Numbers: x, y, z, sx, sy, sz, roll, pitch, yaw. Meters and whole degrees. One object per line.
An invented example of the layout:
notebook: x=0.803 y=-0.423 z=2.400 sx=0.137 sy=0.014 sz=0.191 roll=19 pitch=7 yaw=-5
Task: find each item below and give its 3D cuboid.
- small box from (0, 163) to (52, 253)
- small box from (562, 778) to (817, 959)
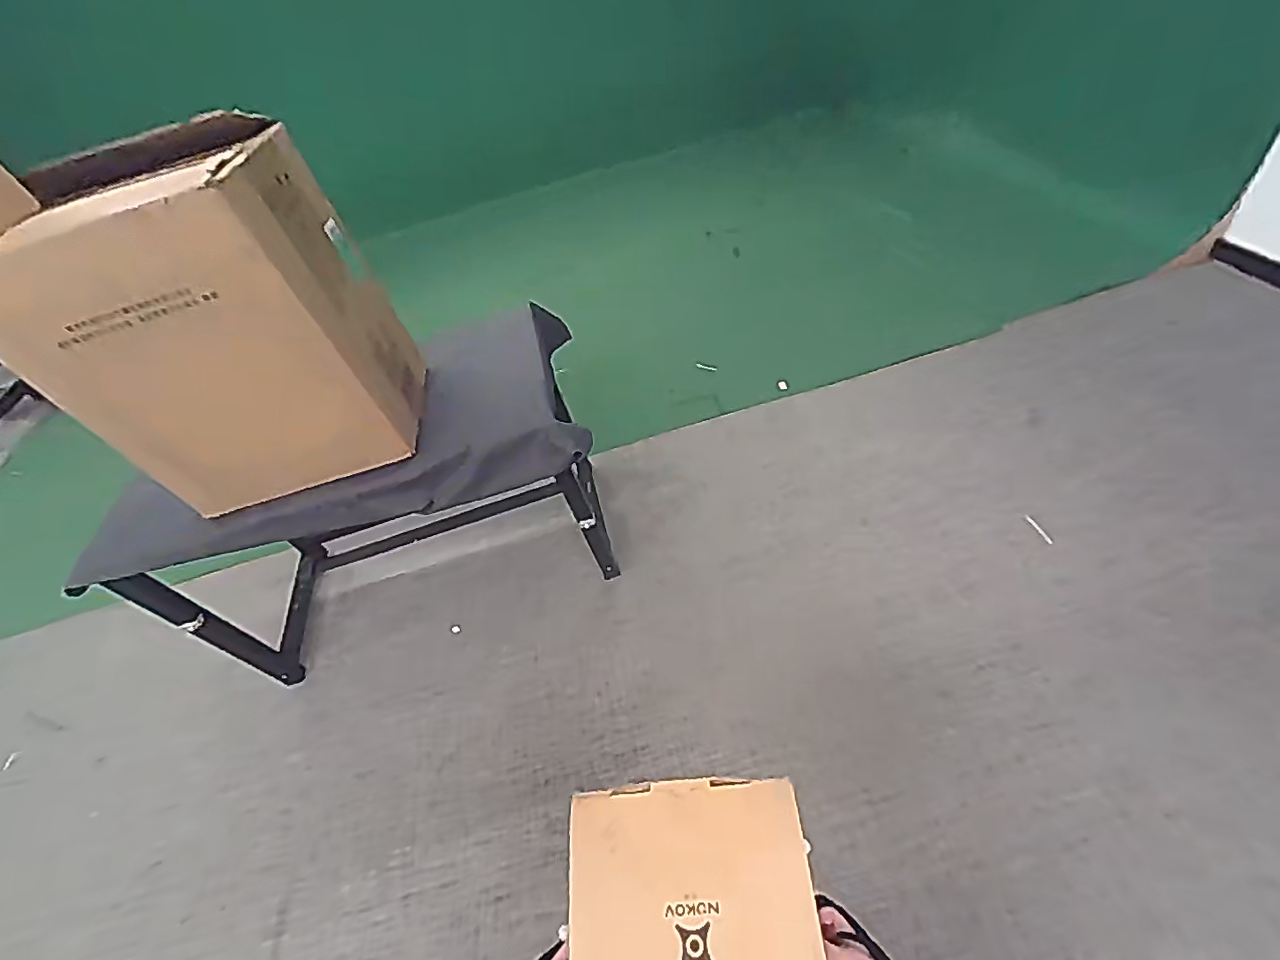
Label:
small box: x=-1.127 y=-0.447 z=0.862 sx=0.168 sy=0.176 sz=0.179 roll=-16 pitch=46 yaw=3
small box: x=0.037 y=0.341 z=0.417 sx=0.168 sy=0.176 sz=0.179 roll=-5 pitch=56 yaw=3
